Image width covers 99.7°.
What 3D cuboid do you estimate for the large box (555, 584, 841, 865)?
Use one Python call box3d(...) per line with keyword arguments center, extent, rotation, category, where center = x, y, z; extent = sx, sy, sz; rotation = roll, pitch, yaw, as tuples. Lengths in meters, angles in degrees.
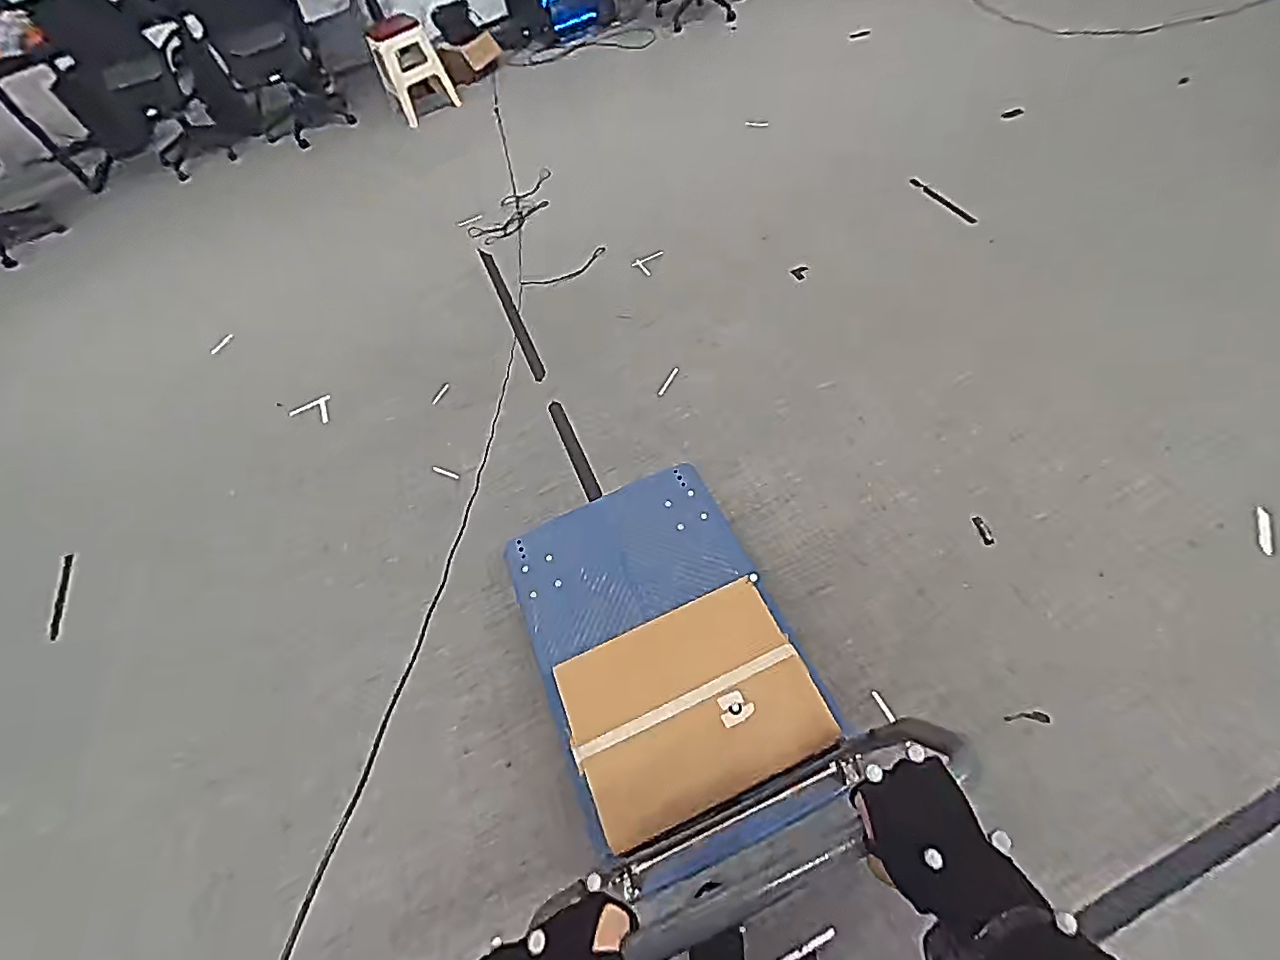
box3d(center=(0.103, 0.469, 1.032), extent=(0.408, 0.320, 0.320), rotation=(-24, 56, -6), category="large box")
